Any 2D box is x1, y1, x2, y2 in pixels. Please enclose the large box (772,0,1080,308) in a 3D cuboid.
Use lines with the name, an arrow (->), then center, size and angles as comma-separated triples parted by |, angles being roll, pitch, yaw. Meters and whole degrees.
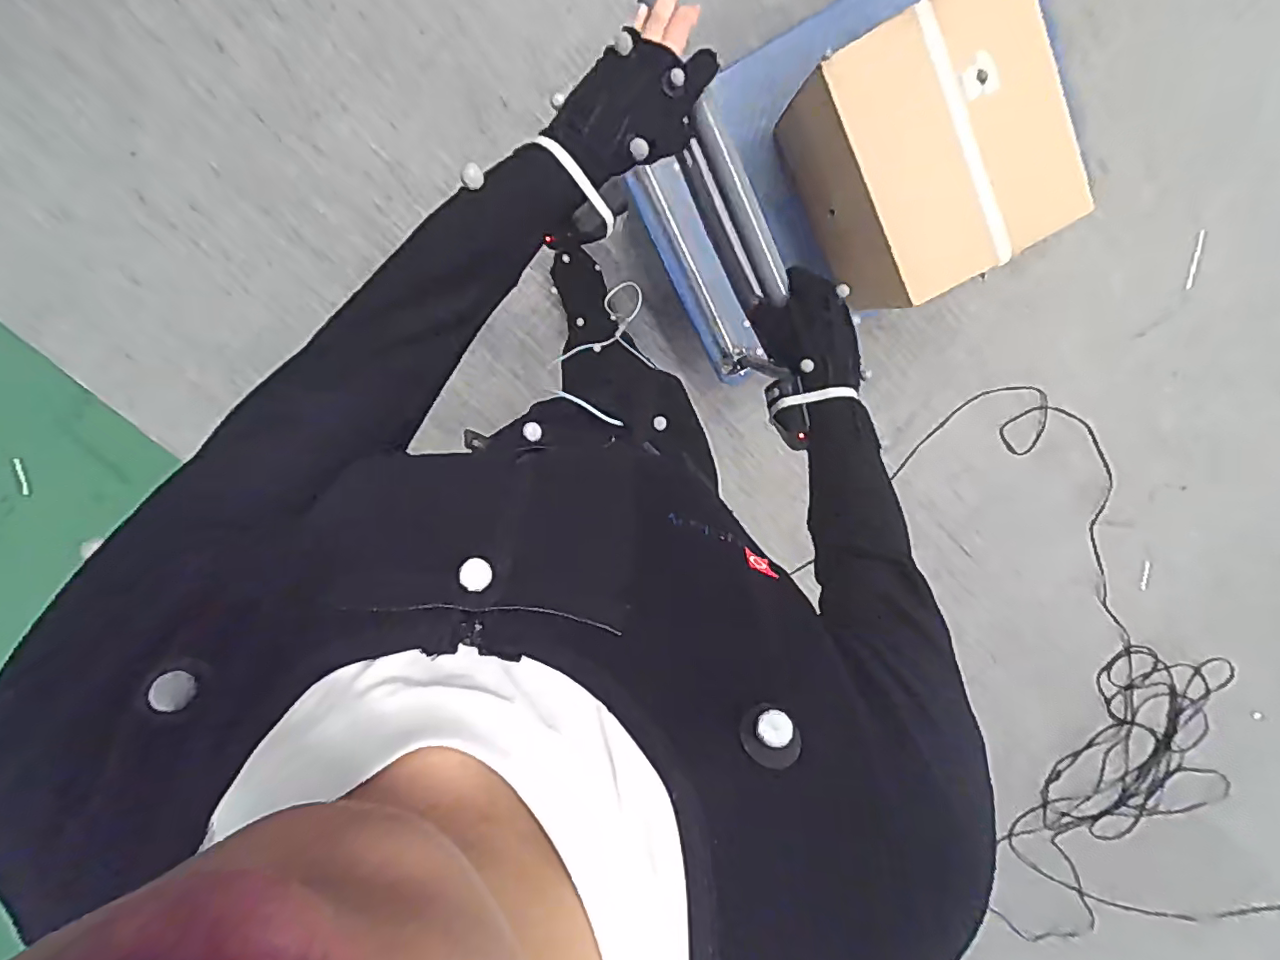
large box -> 0.491, -0.574, 0.994 | 0.320, 0.320, 0.408 | -27, 104, 8
